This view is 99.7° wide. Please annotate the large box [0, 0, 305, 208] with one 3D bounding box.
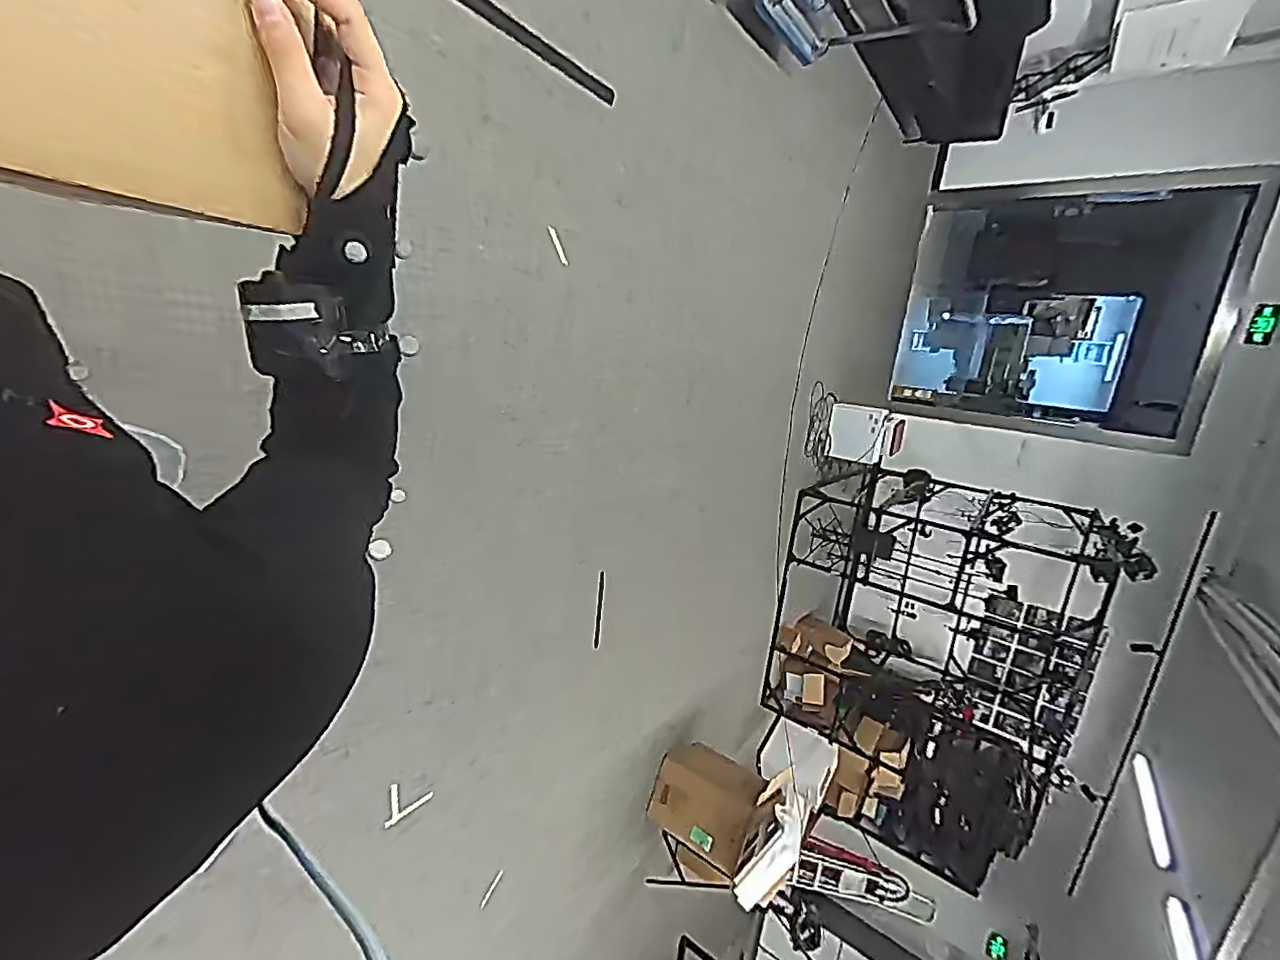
[{"bbox_3d":[-0.407,-0.321,0.190,0.408,0.320,0.320,-16,122,-58],"label":"large box"}]
